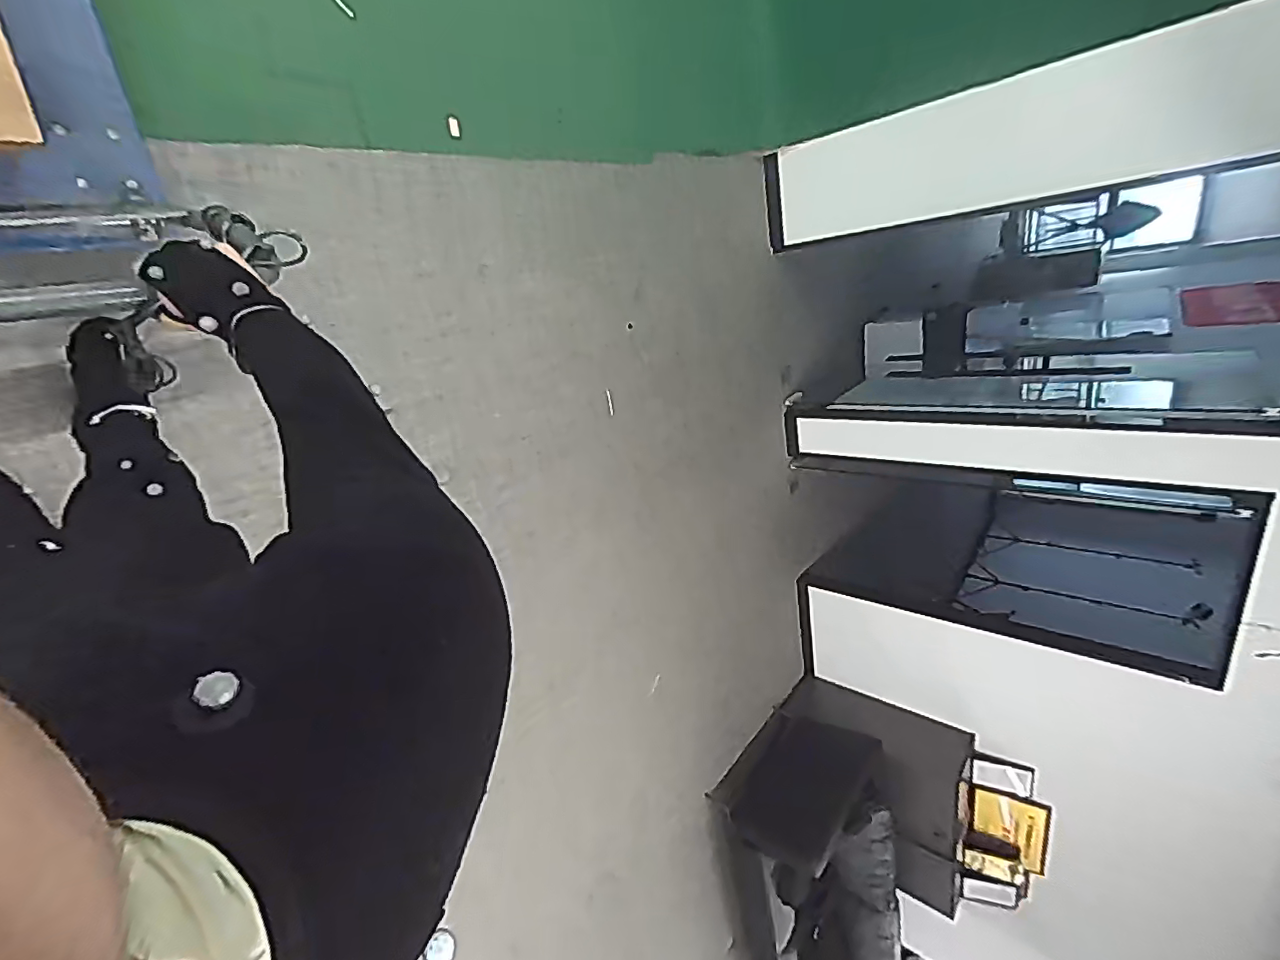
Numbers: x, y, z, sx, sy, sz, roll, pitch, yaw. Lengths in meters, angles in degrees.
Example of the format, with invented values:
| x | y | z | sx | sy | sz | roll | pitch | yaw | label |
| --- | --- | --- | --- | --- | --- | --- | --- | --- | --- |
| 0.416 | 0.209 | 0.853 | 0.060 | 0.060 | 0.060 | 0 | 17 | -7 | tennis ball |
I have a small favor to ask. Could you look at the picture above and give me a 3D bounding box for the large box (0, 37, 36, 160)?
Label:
| x | y | z | sx | sy | sz | roll | pitch | yaw | label |
| --- | --- | --- | --- | --- | --- | --- | --- | --- | --- |
| -1.018 | -0.625 | 0.628 | 0.320 | 0.320 | 0.408 | -25 | 124 | -44 | large box |
